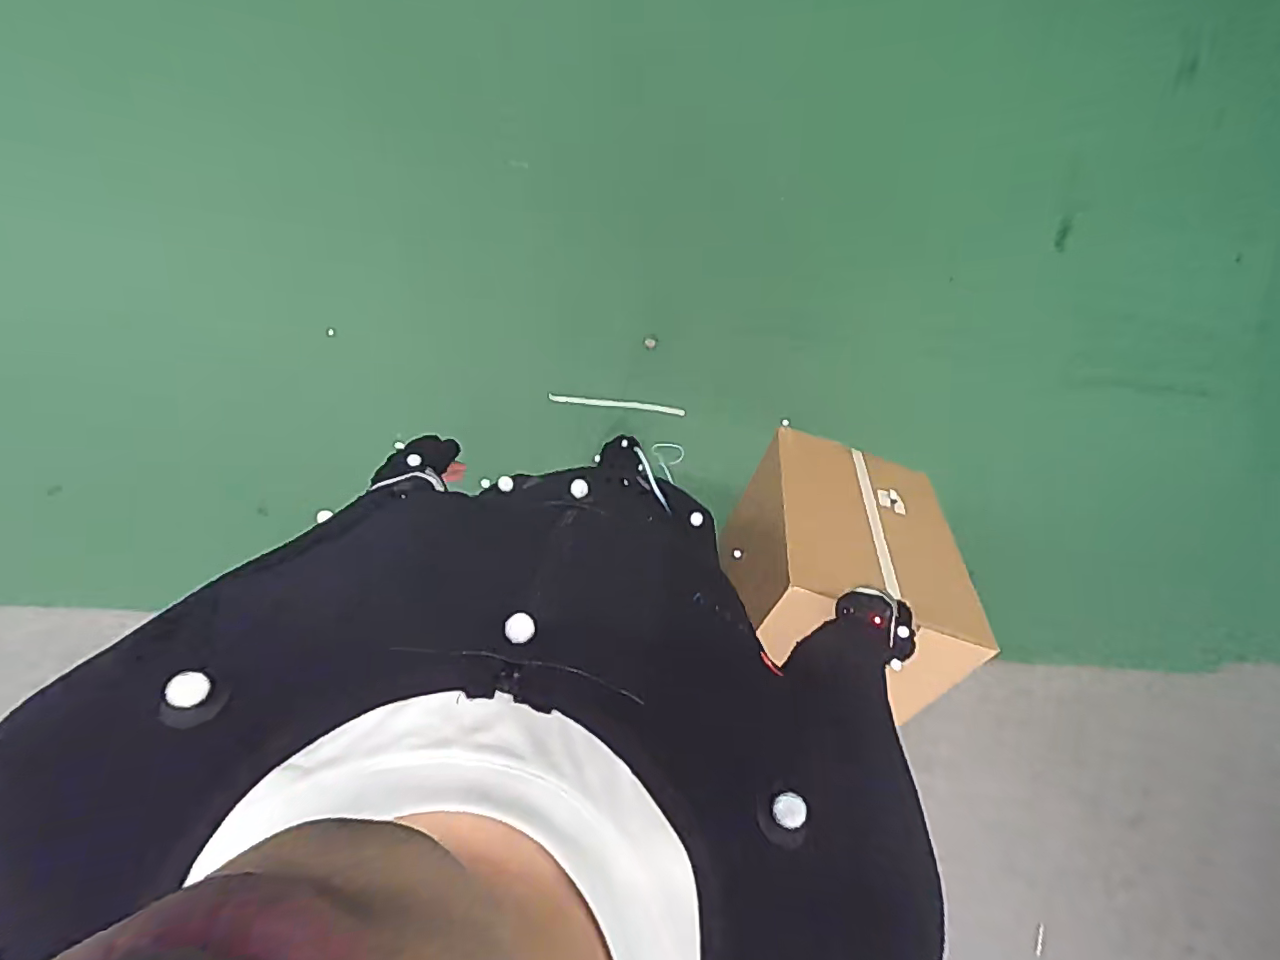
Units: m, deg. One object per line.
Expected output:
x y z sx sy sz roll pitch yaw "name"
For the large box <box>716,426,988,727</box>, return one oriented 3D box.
0.340 0.169 1.003 0.320 0.408 0.320 19 128 -3 "large box"
